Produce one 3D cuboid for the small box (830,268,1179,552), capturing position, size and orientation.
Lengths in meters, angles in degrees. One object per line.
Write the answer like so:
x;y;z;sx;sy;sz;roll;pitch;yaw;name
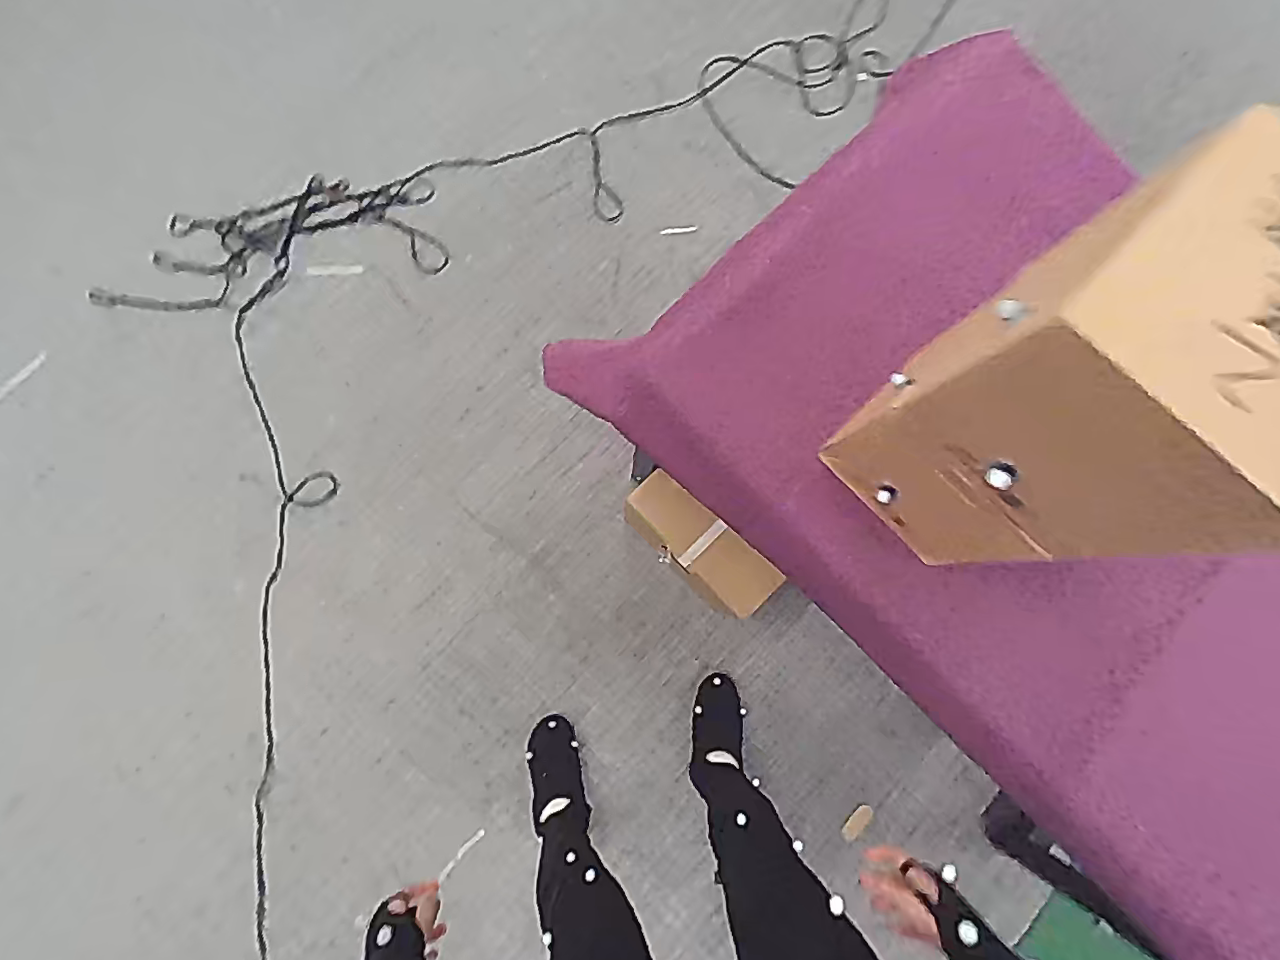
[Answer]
0.314;-0.050;0.508;0.179;0.176;0.168;-43;85;-8;small box
